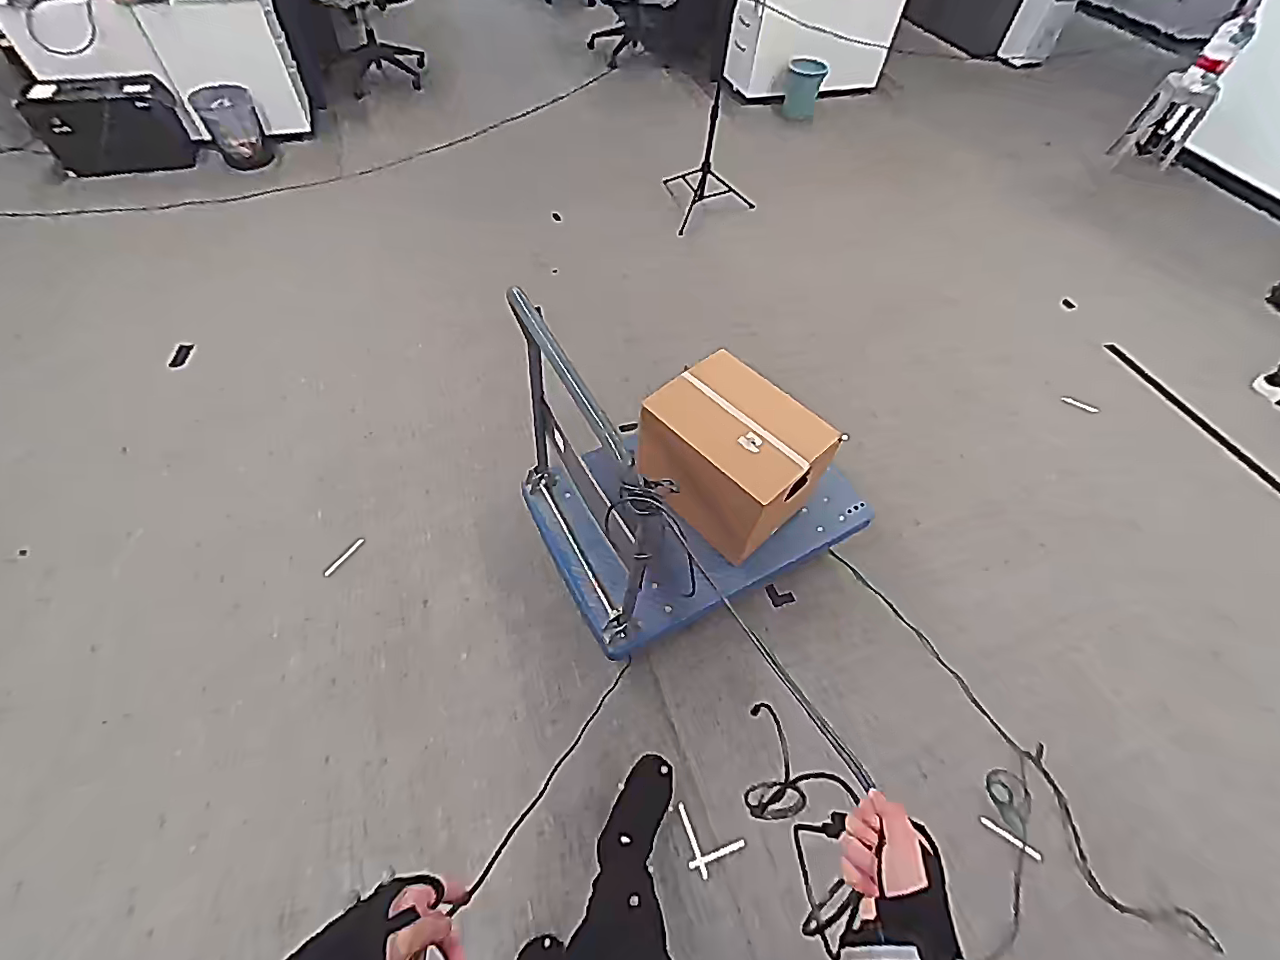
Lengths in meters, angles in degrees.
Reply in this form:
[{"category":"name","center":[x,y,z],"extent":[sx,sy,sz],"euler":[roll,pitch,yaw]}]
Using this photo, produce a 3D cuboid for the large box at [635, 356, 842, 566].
[{"category":"large box","center":[0.239,-0.053,1.449],"extent":[0.320,0.320,0.408],"euler":[-37,66,-25]}]
